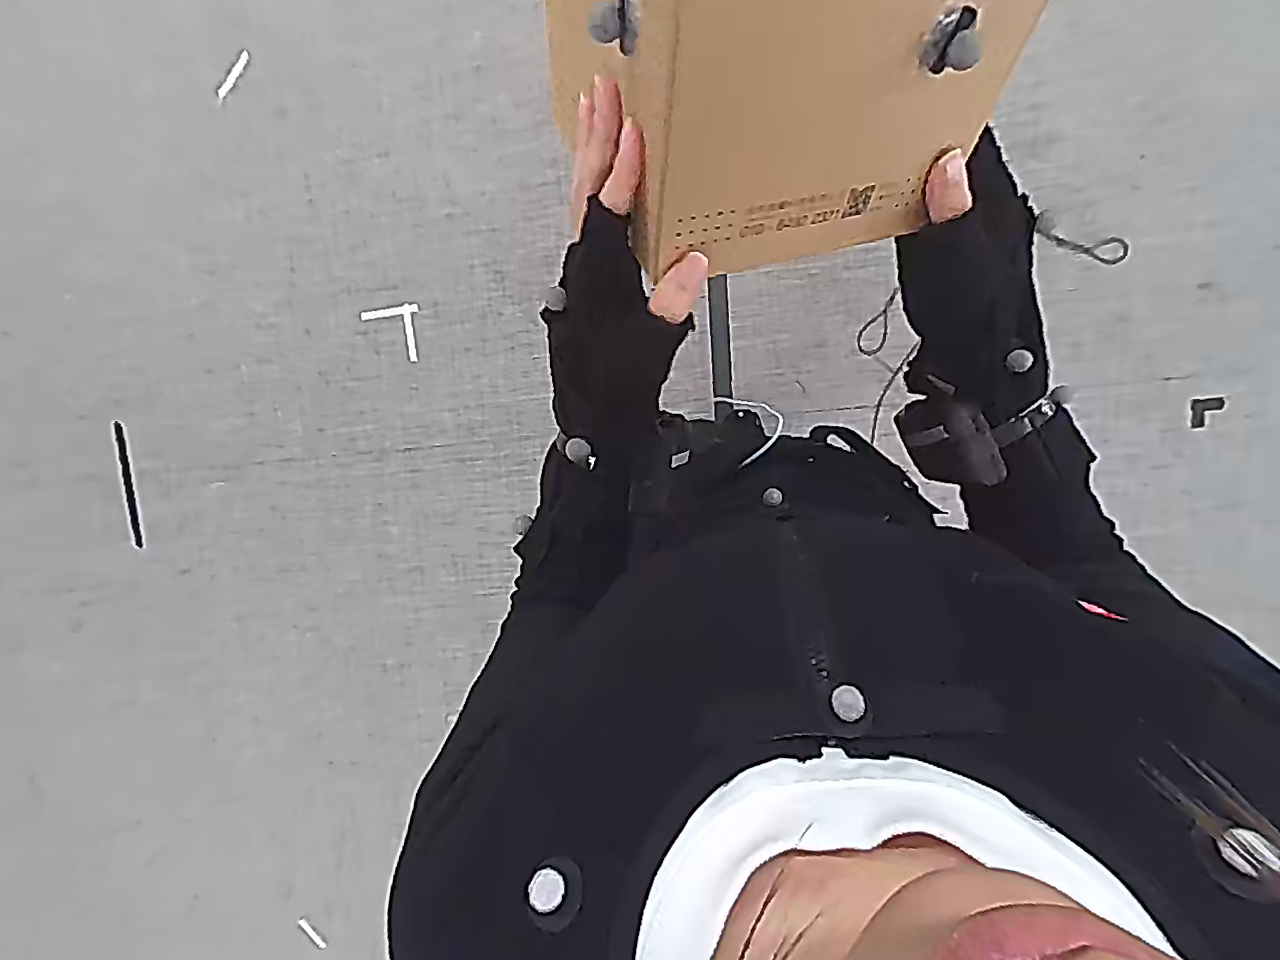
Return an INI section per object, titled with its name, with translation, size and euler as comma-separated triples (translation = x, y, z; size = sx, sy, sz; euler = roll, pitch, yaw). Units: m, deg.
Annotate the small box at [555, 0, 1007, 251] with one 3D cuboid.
[small box]
translation = 0.059, -0.235, 0.269
size = 0.168, 0.176, 0.179
euler = -17, 59, -15
